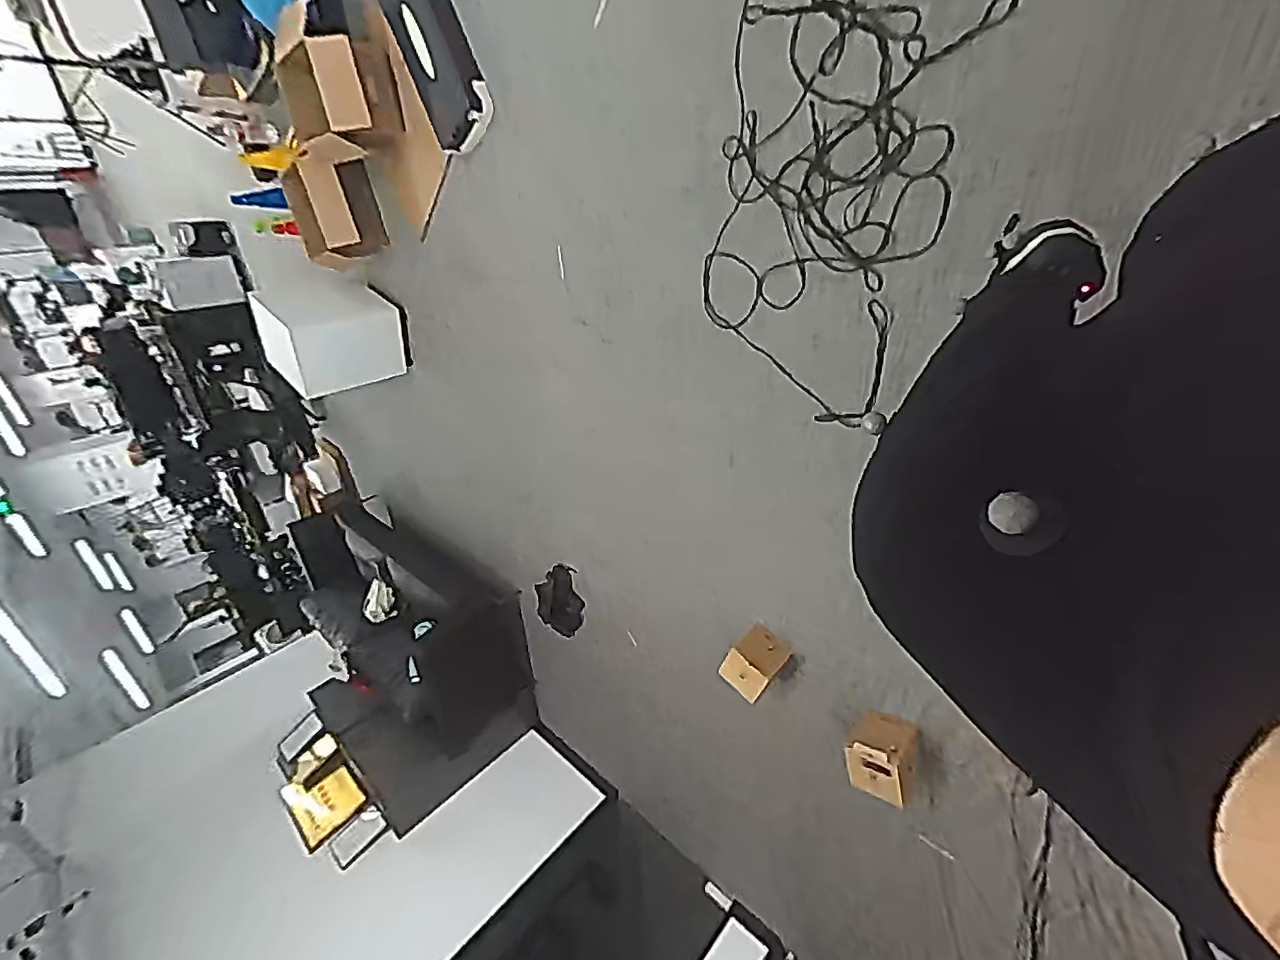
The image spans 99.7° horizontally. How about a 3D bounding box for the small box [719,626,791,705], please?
[{"bbox_3d":[0.420,0.670,1.967,0.168,0.176,0.179,39,136,26],"label":"small box"}]
